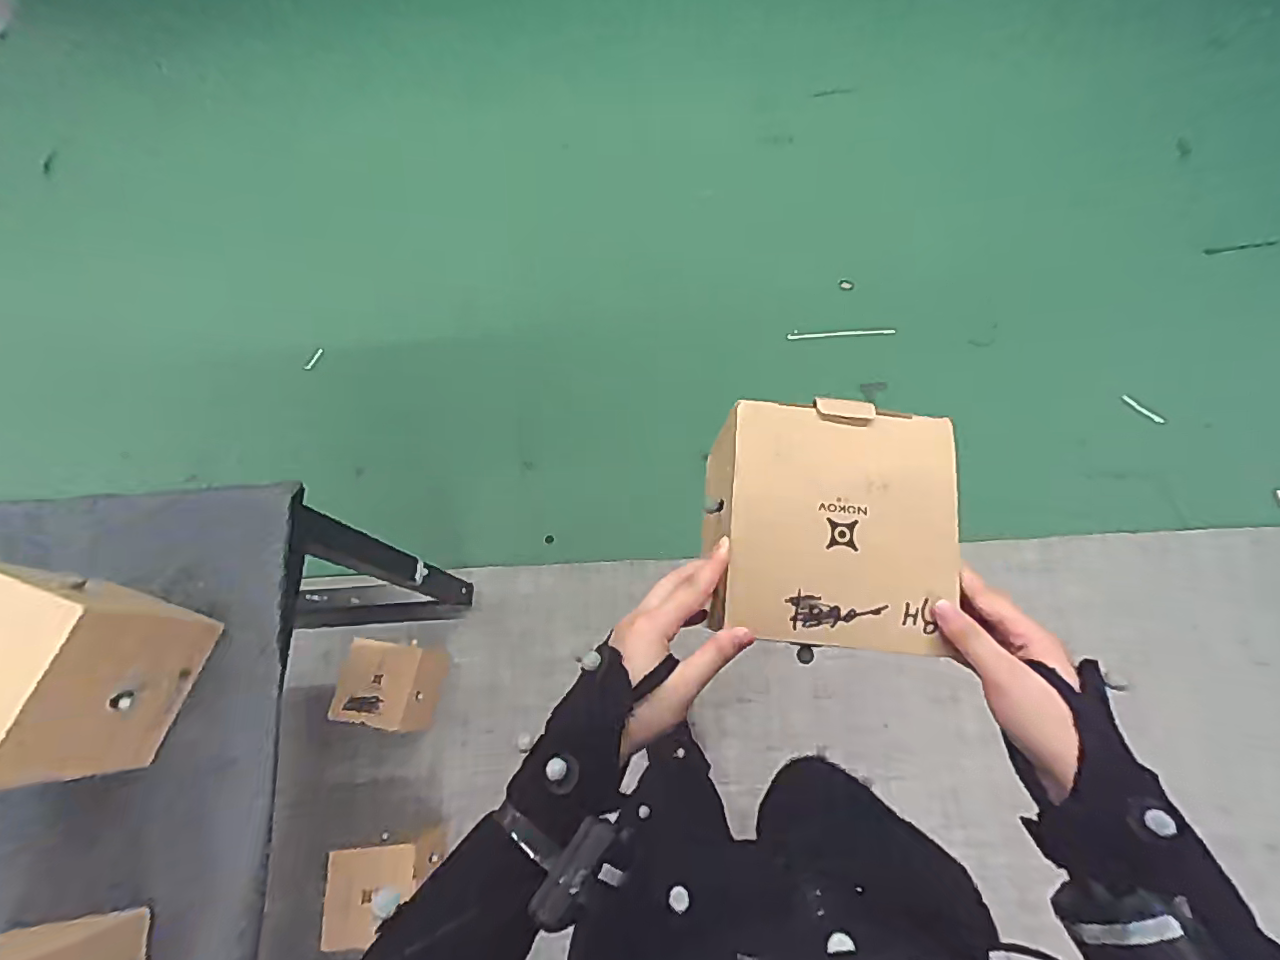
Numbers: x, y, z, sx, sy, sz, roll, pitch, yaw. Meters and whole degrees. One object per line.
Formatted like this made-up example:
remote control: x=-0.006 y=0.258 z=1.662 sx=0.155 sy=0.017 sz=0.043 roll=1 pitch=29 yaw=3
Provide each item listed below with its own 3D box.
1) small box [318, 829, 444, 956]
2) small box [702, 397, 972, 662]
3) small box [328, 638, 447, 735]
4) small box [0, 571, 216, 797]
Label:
small box: x=-0.517 y=0.833 z=1.108 sx=0.179 sy=0.176 sz=0.168 roll=-6 pitch=69 yaw=2
small box: x=0.149 y=0.048 z=0.461 sx=0.168 sy=0.176 sz=0.179 roll=6 pitch=78 yaw=0
small box: x=-0.568 y=0.473 z=1.245 sx=0.168 sy=0.176 sz=0.179 roll=9 pitch=69 yaw=6
small box: x=-0.612 y=0.202 z=0.567 sx=0.179 sy=0.176 sz=0.168 roll=15 pitch=71 yaw=11
